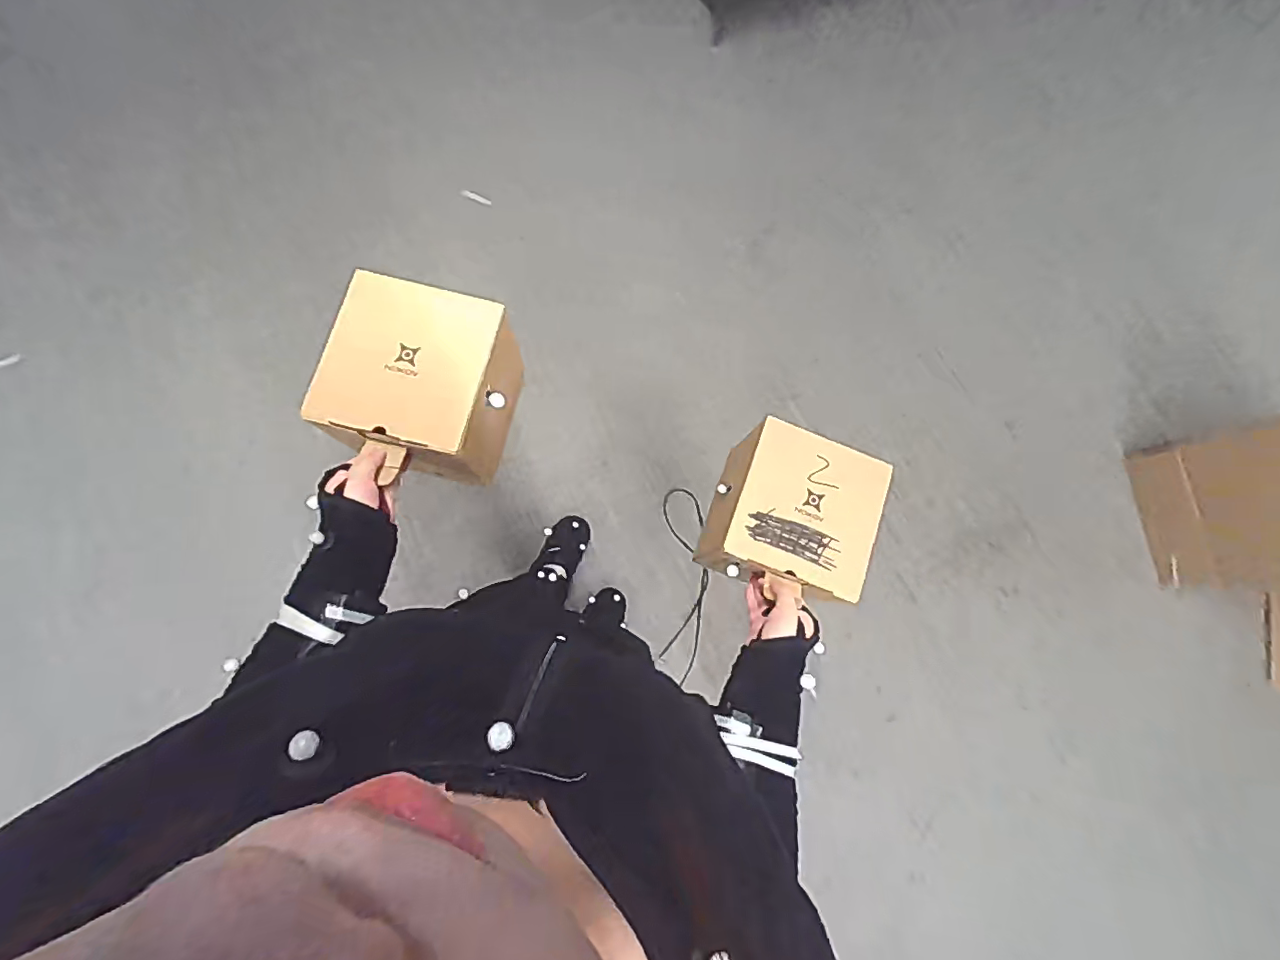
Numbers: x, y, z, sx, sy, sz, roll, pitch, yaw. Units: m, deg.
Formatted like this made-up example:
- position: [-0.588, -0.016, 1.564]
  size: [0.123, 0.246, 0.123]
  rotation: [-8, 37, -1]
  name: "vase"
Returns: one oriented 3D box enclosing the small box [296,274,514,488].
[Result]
- position: [-0.254, -0.103, 0.639]
  size: [0.168, 0.176, 0.179]
  rotation: [13, 77, -2]
  name: "small box"
